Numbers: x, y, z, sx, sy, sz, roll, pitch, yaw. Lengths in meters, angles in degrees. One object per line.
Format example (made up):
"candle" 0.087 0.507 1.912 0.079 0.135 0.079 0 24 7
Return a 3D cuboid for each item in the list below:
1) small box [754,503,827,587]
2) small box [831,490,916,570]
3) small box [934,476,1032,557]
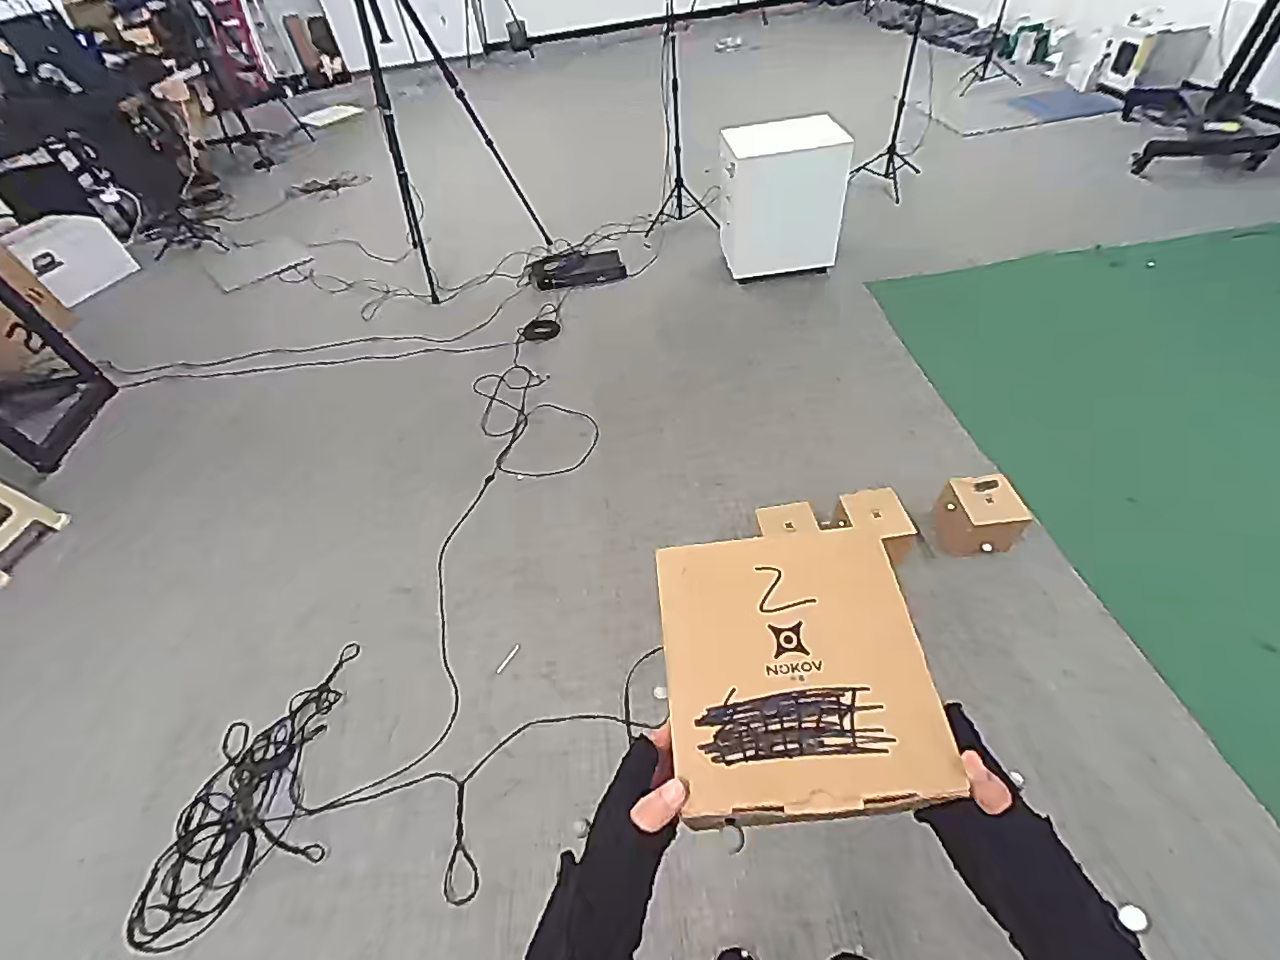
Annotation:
"small box" 0.444 0.196 1.627 0.168 0.176 0.179 -9 48 1
"small box" 0.697 0.157 1.633 0.168 0.176 0.179 -9 47 -1
"small box" 1.019 0.111 1.629 0.168 0.176 0.179 -6 49 2
